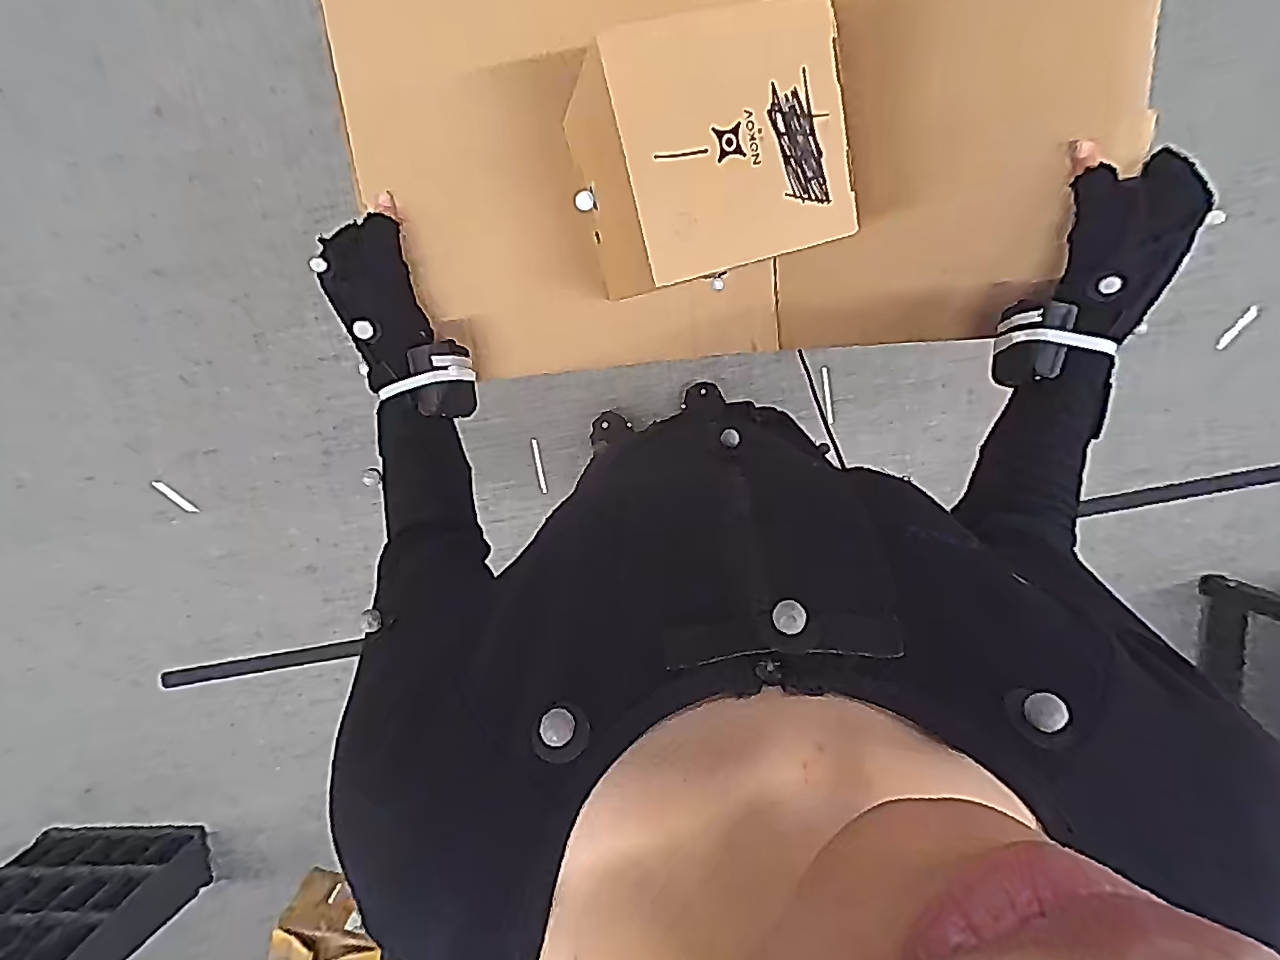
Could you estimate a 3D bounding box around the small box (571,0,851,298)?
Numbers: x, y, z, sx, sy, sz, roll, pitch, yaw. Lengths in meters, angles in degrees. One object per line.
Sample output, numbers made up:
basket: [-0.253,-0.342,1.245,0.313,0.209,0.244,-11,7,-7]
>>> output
small box: [0.052,-0.266,0.474,0.179,0.176,0.168,-18,108,-9]
